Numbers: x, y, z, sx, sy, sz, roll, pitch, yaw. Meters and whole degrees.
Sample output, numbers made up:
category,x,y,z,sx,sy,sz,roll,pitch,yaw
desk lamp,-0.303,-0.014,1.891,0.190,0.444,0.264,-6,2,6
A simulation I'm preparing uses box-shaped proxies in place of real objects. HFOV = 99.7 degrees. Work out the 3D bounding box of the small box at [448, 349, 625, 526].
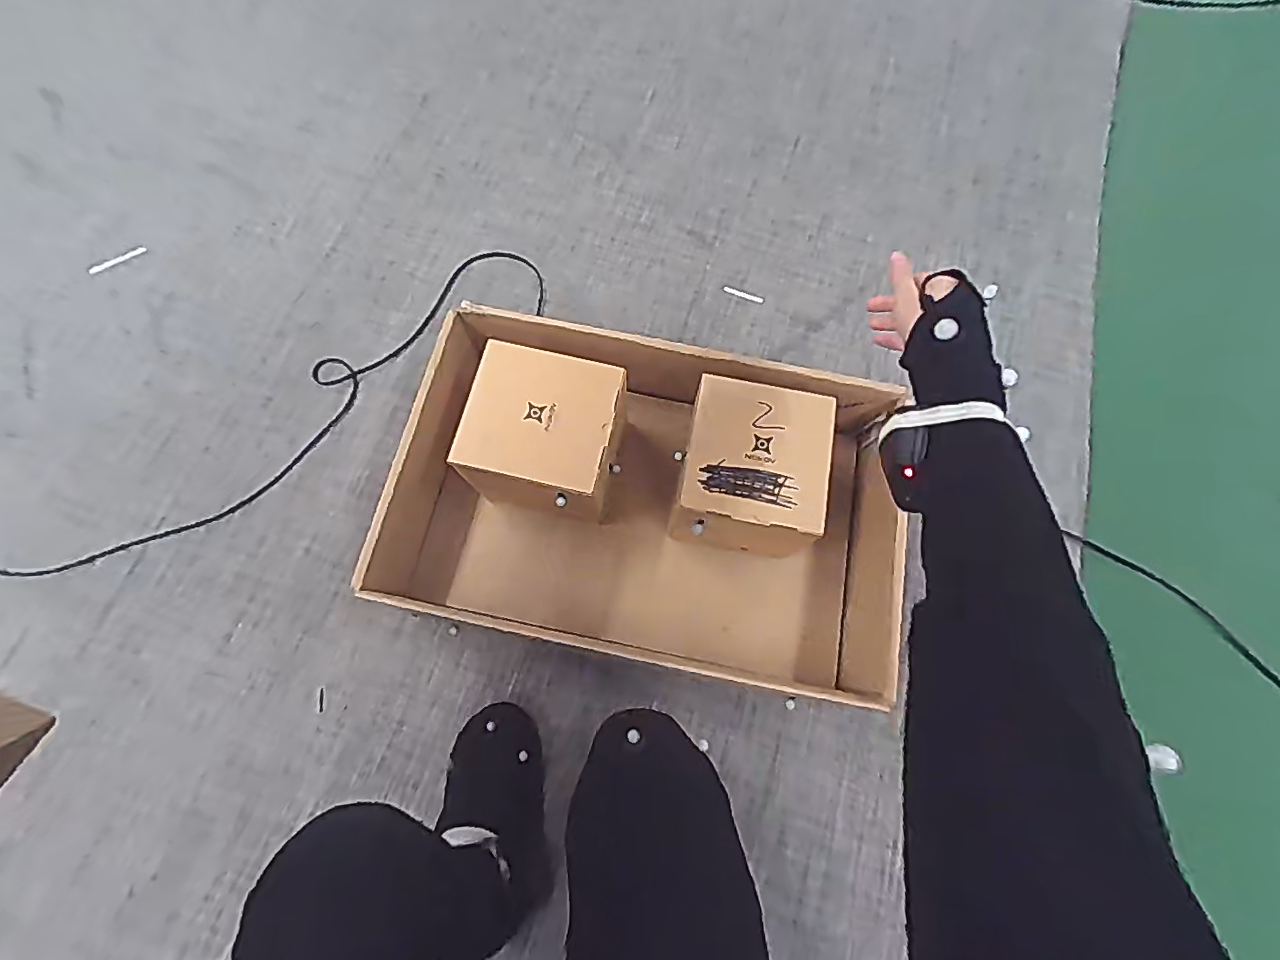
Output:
category,x,y,z,sx,sy,sz,roll,pitch,yaw
small box,-0.123,-0.046,0.718,0.179,0.176,0.168,13,73,1
